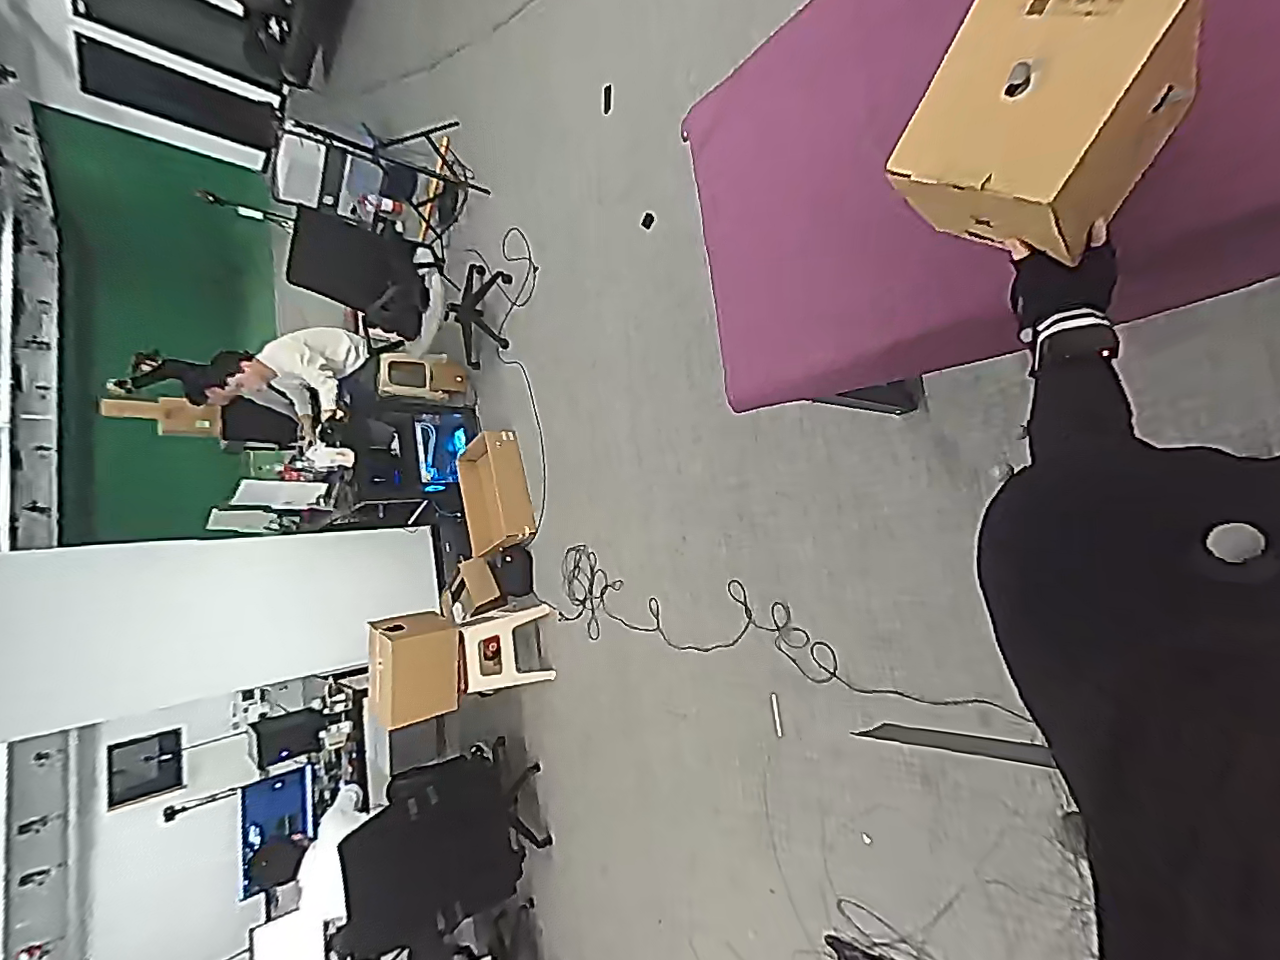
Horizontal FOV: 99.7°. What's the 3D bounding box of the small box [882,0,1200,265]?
[{"bbox_3d":[0.378,-0.336,0.518,0.168,0.179,0.176,43,119,36],"label":"small box"}]
